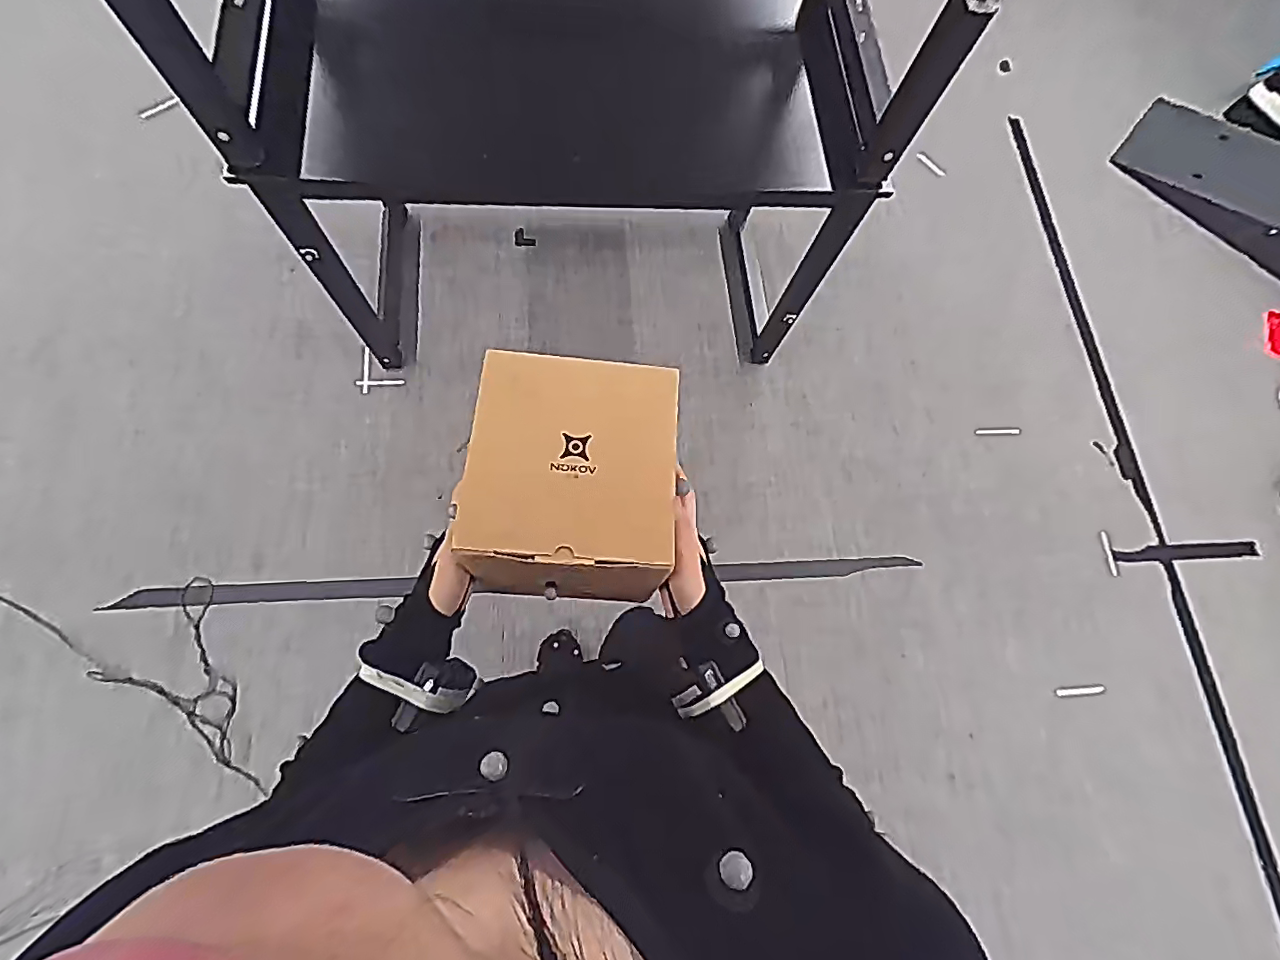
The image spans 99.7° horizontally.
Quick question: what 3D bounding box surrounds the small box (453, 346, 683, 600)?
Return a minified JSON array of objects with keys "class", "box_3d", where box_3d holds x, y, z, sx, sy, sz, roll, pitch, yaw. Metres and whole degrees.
[{"class":"small box","box_3d":[-0.059,0.005,0.495,0.168,0.176,0.179,5,69,-5]}]
